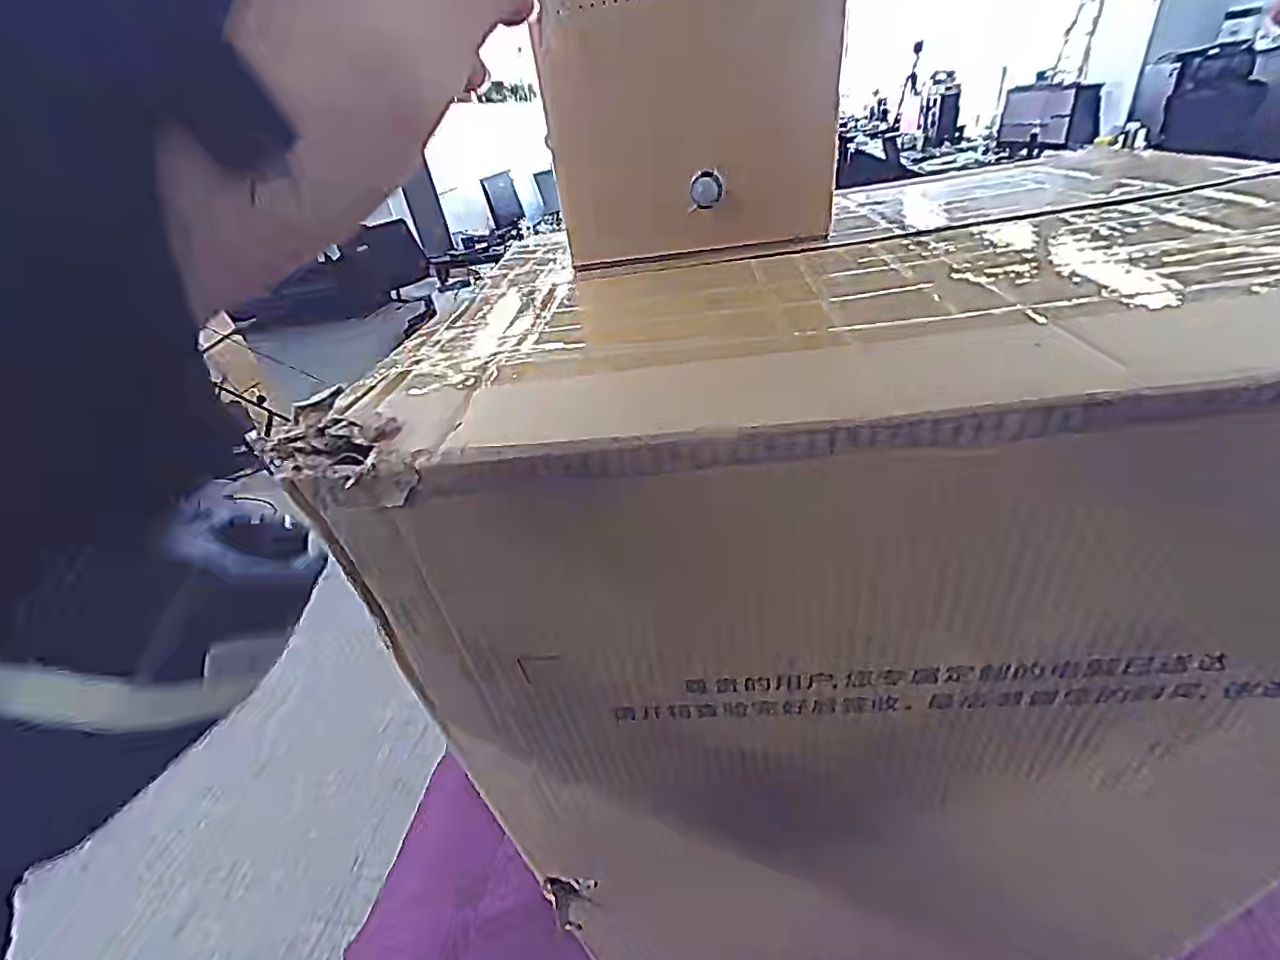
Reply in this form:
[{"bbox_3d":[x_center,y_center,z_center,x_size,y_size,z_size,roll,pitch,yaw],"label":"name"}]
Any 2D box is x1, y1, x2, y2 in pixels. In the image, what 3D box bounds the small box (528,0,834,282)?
[{"bbox_3d":[0.030,-0.257,0.388,0.179,0.176,0.168,-4,34,9],"label":"small box"}]
